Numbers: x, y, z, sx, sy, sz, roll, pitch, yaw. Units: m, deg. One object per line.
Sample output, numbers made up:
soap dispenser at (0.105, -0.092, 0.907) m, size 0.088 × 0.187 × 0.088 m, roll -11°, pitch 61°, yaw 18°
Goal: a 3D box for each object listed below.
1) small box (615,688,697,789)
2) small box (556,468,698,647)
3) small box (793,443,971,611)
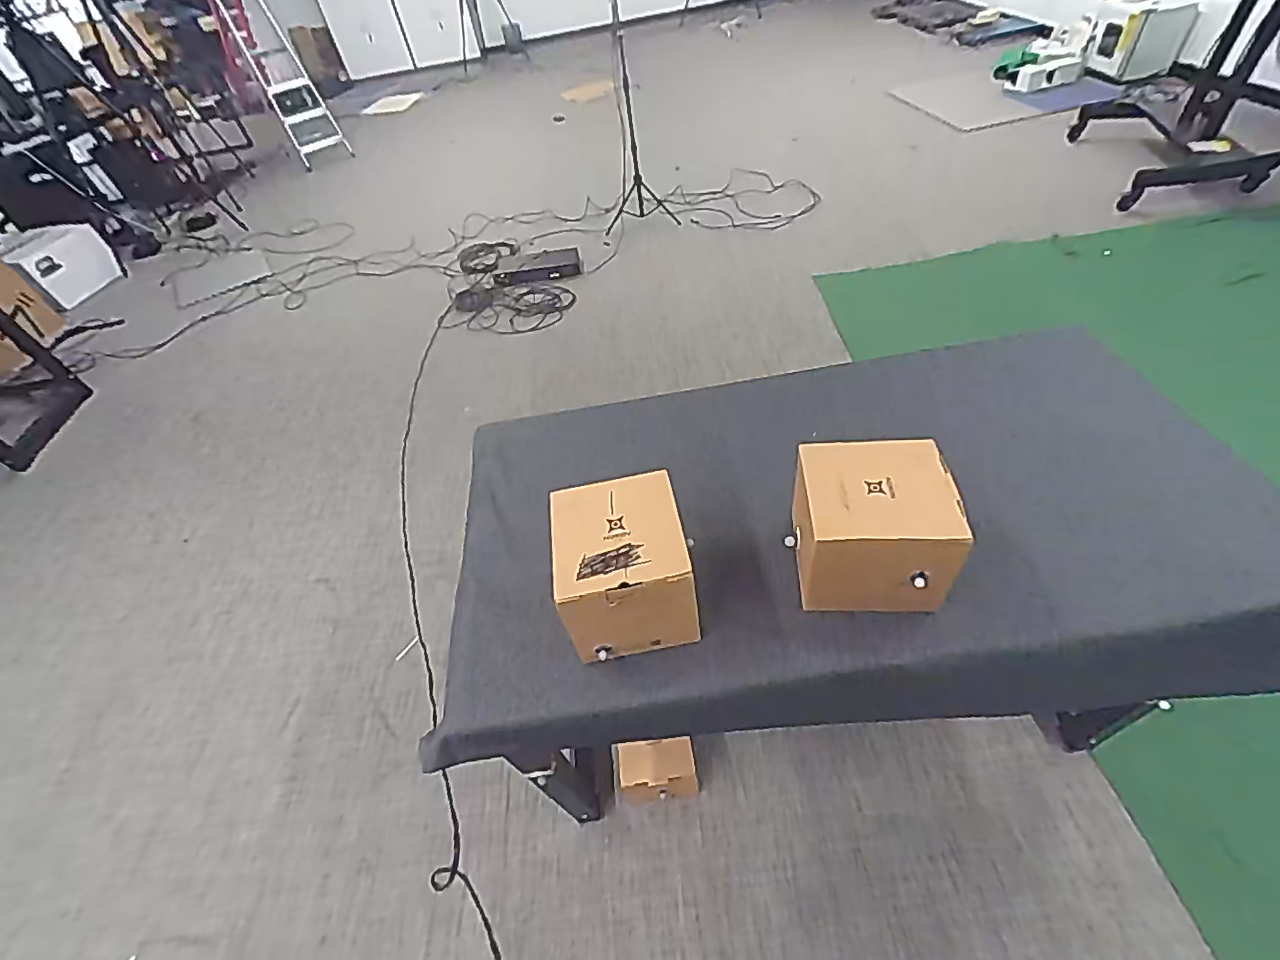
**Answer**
small box at (0.039, 0.616, 1.278) m, size 0.168 × 0.176 × 0.179 m, roll -9°, pitch 49°, yaw 2°
small box at (-0.016, 0.113, 0.747) m, size 0.168 × 0.176 × 0.179 m, roll -10°, pitch 46°, yaw 0°
small box at (0.310, 0.067, 0.737) m, size 0.179 × 0.176 × 0.168 m, roll -2°, pitch 47°, yaw 9°
